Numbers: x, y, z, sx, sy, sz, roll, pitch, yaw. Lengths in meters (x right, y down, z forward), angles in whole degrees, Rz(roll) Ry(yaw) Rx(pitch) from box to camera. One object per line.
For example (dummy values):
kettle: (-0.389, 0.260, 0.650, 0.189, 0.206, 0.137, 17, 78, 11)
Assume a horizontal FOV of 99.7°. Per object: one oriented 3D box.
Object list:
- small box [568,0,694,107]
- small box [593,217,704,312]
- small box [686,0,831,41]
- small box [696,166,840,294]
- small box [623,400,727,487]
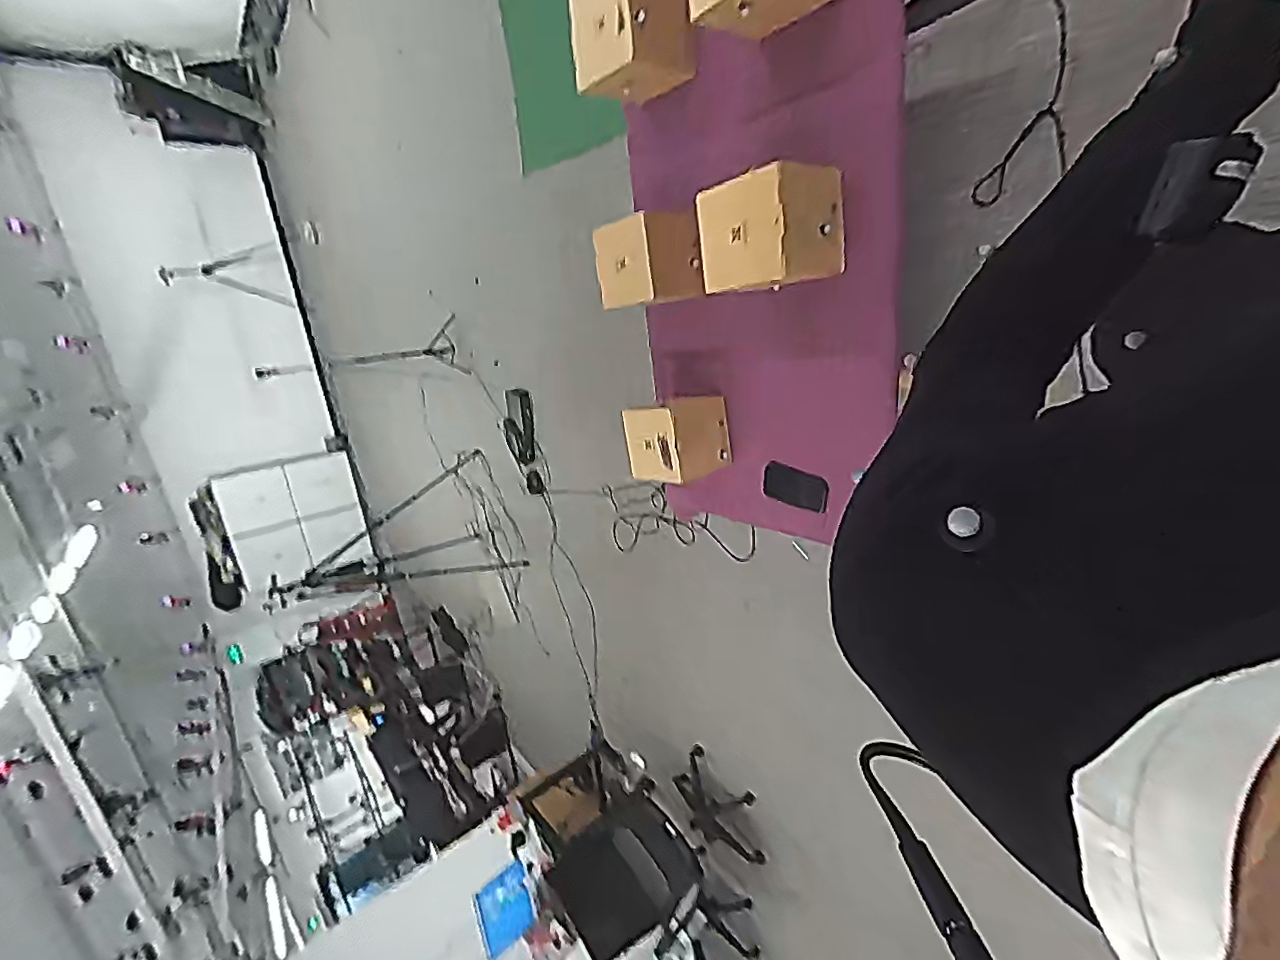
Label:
small box: (-0.016, -0.854, 1.053, 0.179, 0.176, 0.168, 16, 119, 49)
small box: (0.022, -0.465, 1.181, 0.179, 0.176, 0.168, 11, 115, 49)
small box: (0.183, -0.799, 0.810, 0.179, 0.176, 0.168, 16, 119, 49)
small box: (0.222, -0.421, 0.937, 0.179, 0.176, 0.168, 10, 113, 51)
small box: (0.087, -0.091, 1.261, 0.179, 0.176, 0.168, 7, 110, 52)
